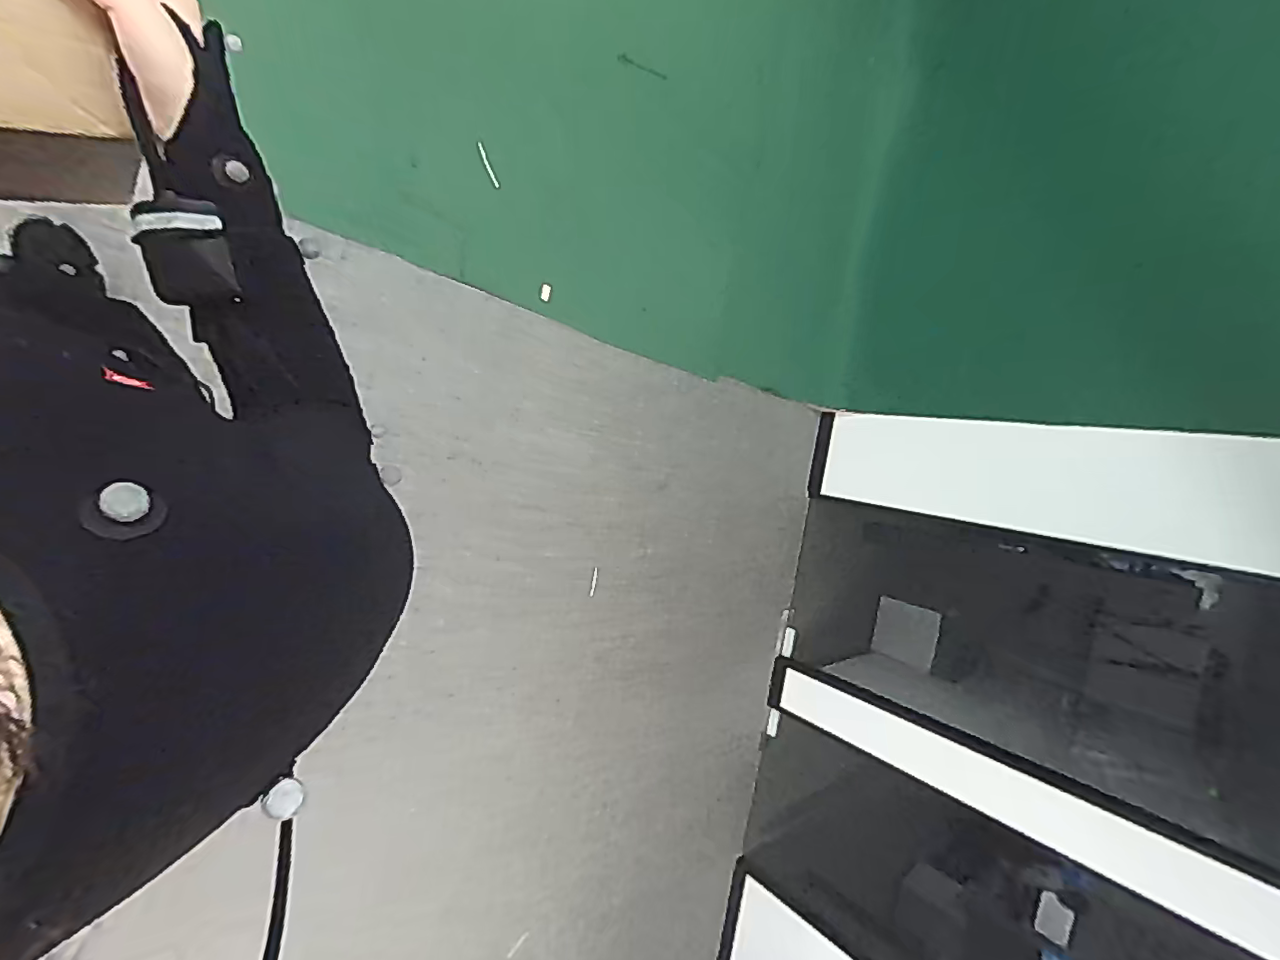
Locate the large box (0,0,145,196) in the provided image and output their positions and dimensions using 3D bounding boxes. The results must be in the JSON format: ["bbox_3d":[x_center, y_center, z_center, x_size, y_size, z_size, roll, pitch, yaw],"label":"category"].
[{"bbox_3d":[-0.582,-0.349,0.280,0.408,0.320,0.320,-22,118,-41],"label":"large box"}]
